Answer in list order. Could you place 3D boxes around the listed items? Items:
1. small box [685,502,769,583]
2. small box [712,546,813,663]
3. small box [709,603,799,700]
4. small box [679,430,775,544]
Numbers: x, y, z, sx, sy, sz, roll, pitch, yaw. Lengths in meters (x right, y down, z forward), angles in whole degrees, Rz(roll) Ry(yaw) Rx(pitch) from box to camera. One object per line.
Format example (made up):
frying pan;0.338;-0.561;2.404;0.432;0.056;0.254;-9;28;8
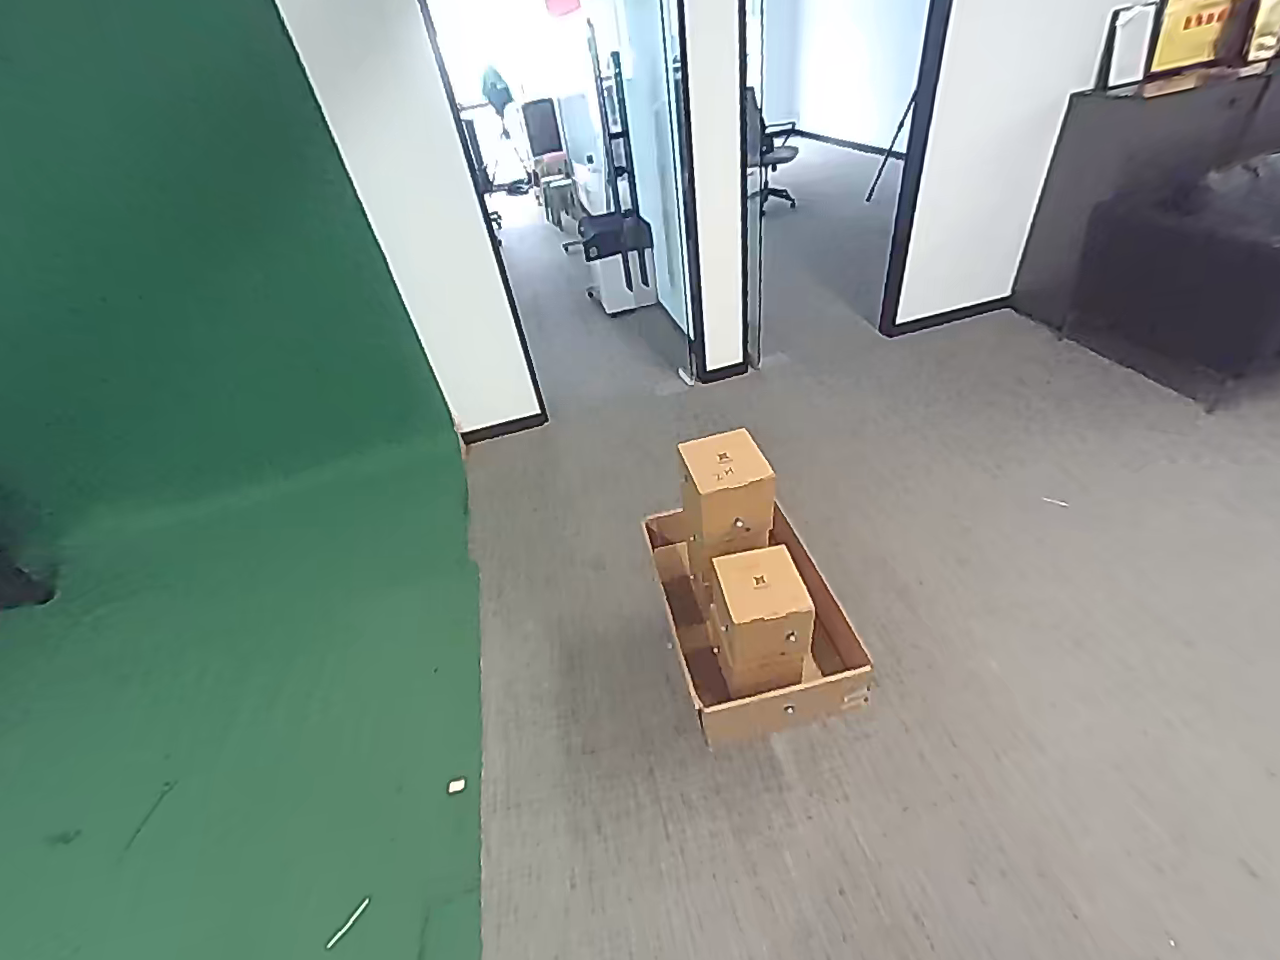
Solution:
small box;0.209;0.129;1.348;0.168;0.176;0.179;-12;43;-4
small box;0.257;0.273;1.160;0.168;0.176;0.179;-10;39;-2
small box;0.268;0.394;1.270;0.168;0.176;0.179;-12;39;-3
small box;0.192;0.016;1.228;0.168;0.176;0.179;-14;43;-5
